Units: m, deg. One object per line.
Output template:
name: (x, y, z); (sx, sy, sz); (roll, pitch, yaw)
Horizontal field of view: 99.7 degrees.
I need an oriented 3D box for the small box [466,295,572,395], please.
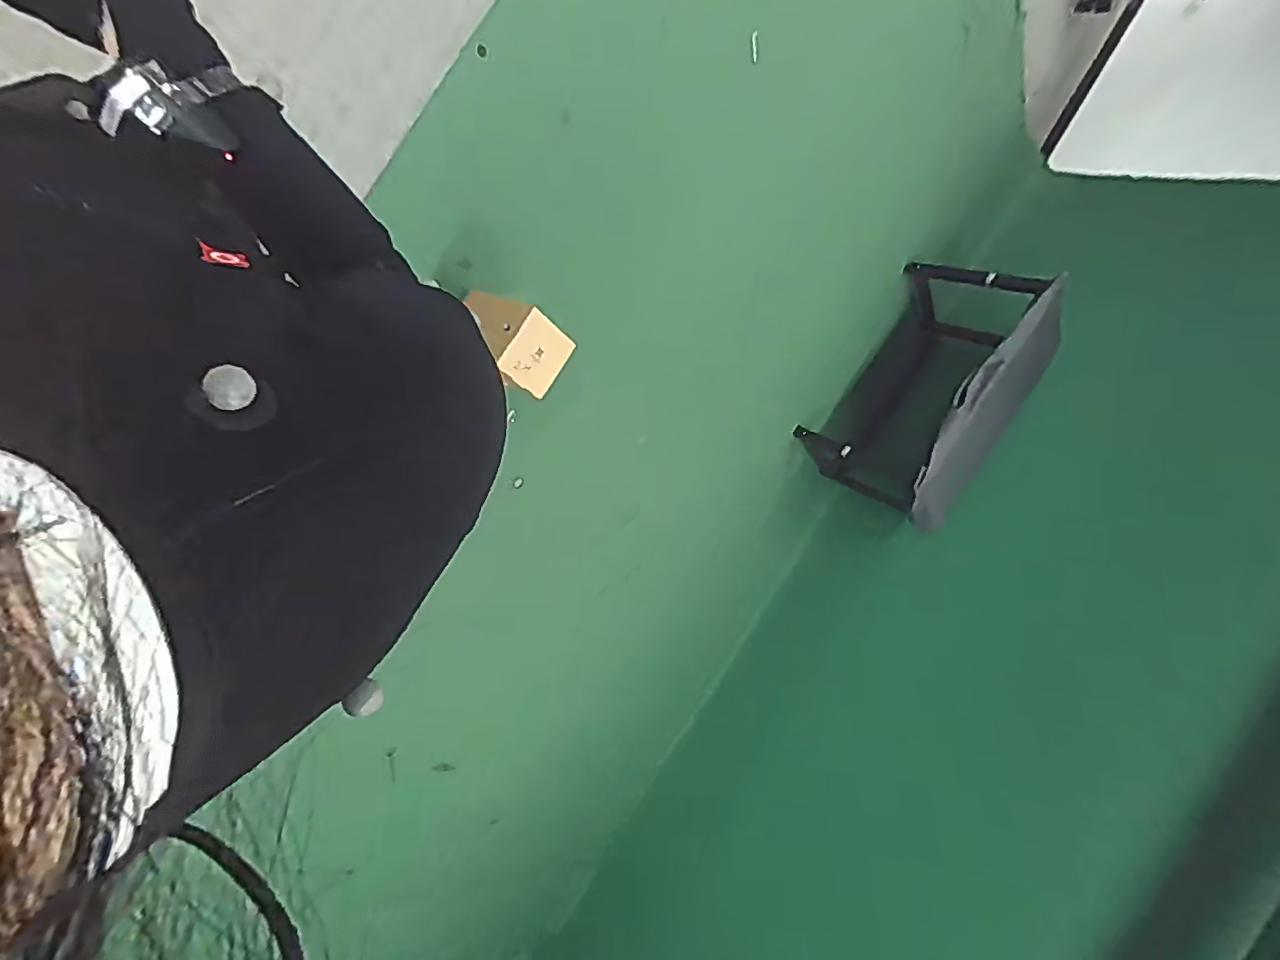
small box: (-0.316, -0.355, 1.401); (0.179, 0.176, 0.168); (-57, 140, -3)
